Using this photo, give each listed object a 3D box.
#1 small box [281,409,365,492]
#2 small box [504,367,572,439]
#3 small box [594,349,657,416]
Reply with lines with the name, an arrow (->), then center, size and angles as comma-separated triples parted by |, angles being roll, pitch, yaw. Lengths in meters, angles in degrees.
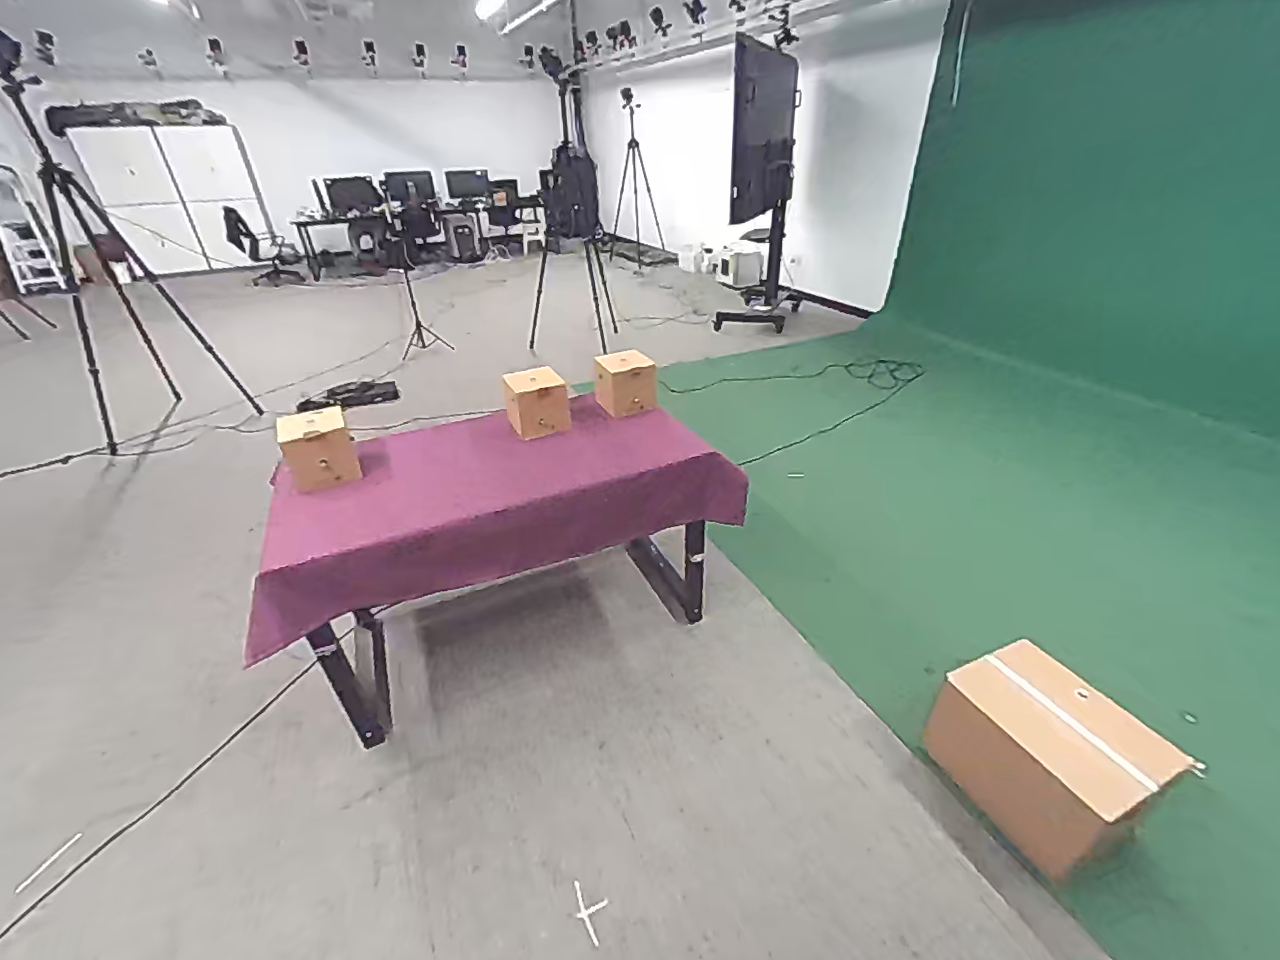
small box -> -0.911, -0.080, 1.559 | 0.168, 0.176, 0.179 | -18, 37, -24
small box -> -0.337, -0.255, 1.789 | 0.168, 0.176, 0.179 | -18, 36, -21
small box -> -0.050, -0.343, 1.894 | 0.168, 0.176, 0.179 | -17, 35, -19
